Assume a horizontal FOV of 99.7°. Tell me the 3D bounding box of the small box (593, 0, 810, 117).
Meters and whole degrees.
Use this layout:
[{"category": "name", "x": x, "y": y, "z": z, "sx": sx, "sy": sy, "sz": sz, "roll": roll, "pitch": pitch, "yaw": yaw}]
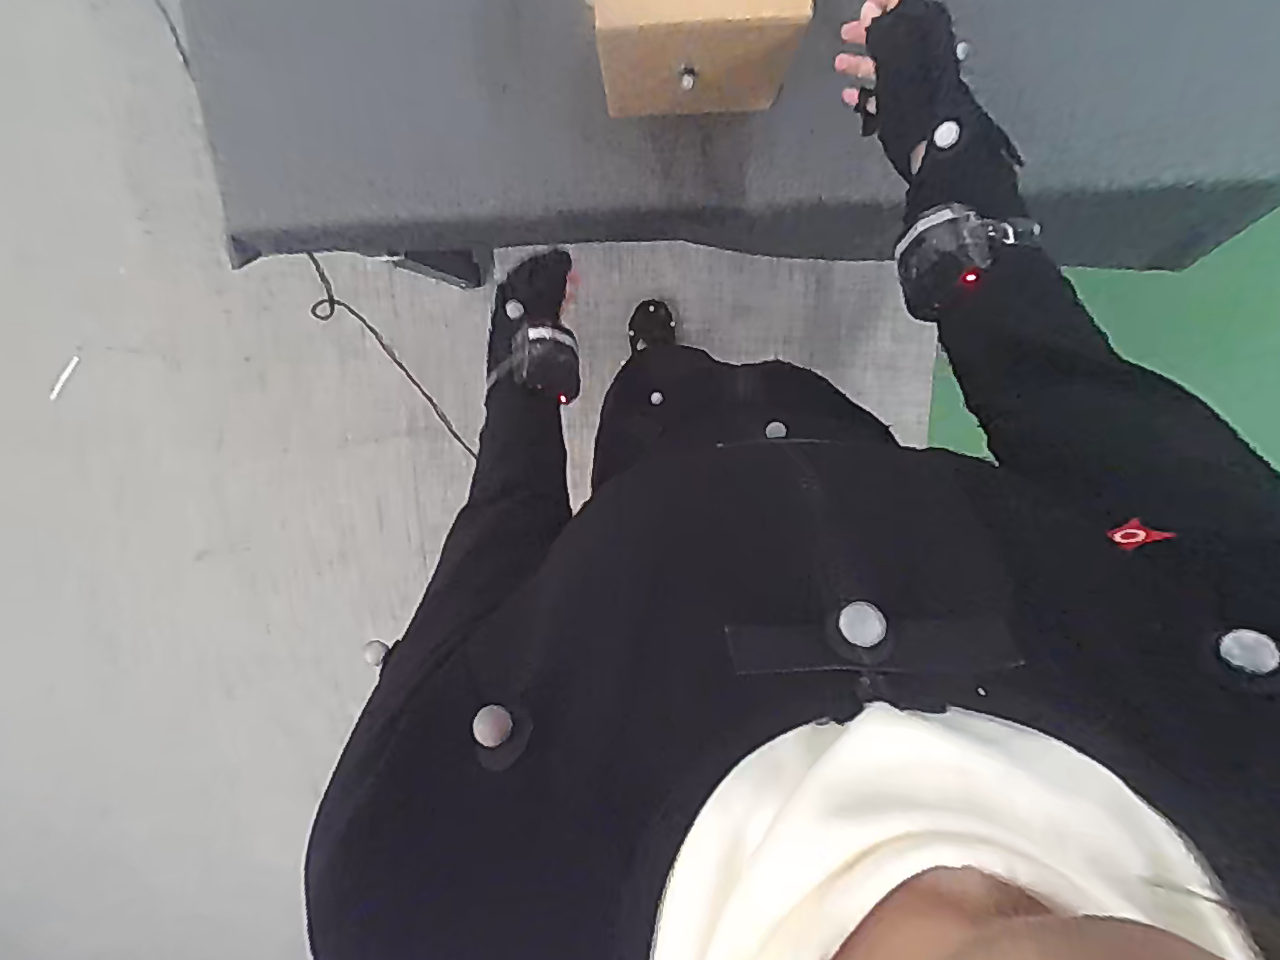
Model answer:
[{"category": "small box", "x": 0.049, "y": -0.461, "z": 0.496, "sx": 0.179, "sy": 0.176, "sz": 0.168, "roll": -2, "pitch": 103, "yaw": 3}]
